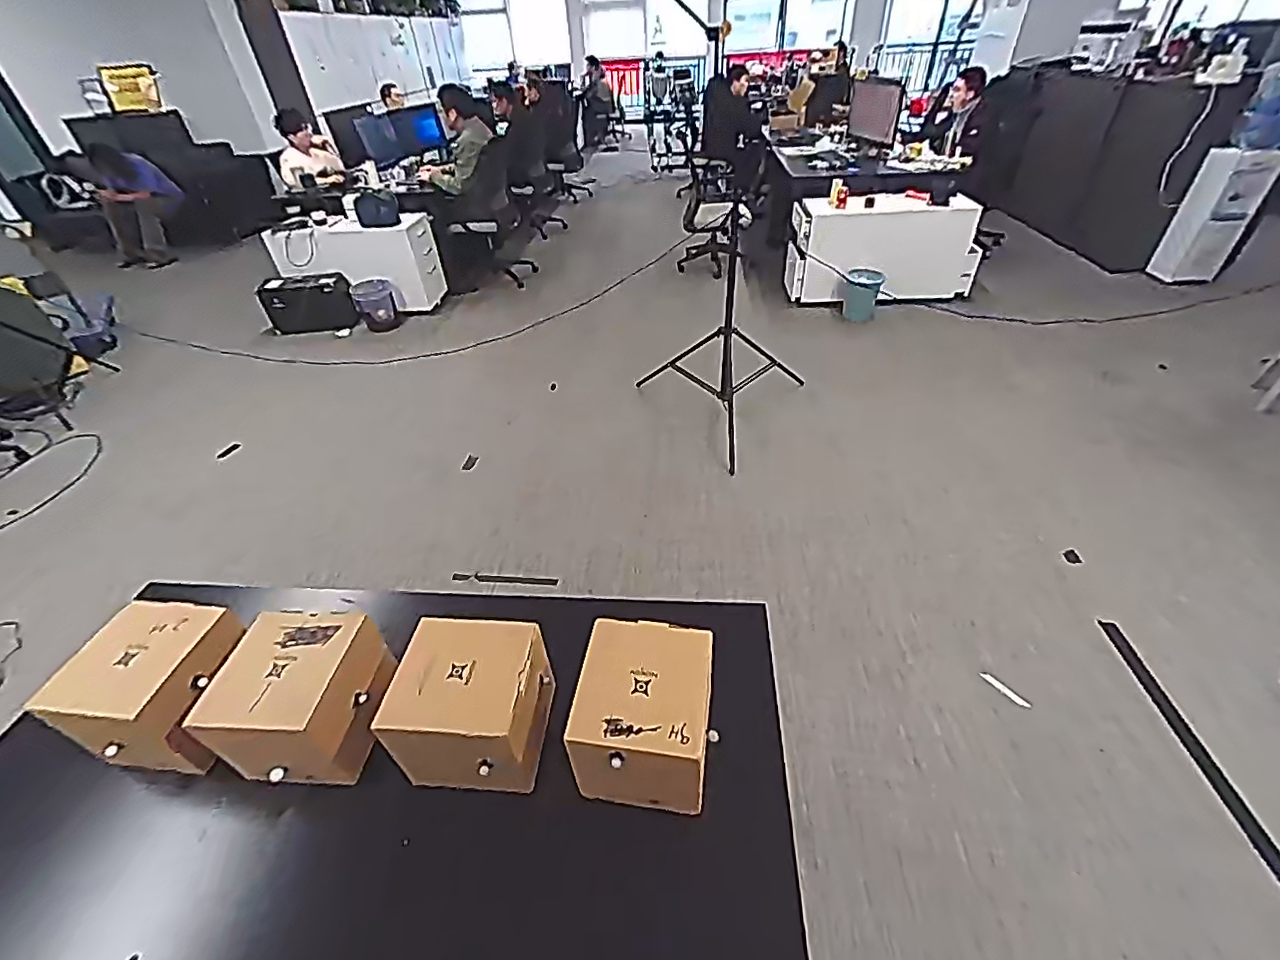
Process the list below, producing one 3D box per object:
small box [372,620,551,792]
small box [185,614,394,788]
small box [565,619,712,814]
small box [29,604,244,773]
[{"bbox_3d":[-0.233,0.319,0.764,0.179,0.176,0.168,0,38,5],"label":"small box"},{"bbox_3d":[-0.481,0.317,0.783,0.168,0.176,0.179,0,41,4],"label":"small box"},{"bbox_3d":[0.007,0.319,0.740,0.168,0.176,0.179,3,39,10],"label":"small box"},{"bbox_3d":[-0.704,0.311,0.808,0.168,0.176,0.179,3,40,7],"label":"small box"}]
